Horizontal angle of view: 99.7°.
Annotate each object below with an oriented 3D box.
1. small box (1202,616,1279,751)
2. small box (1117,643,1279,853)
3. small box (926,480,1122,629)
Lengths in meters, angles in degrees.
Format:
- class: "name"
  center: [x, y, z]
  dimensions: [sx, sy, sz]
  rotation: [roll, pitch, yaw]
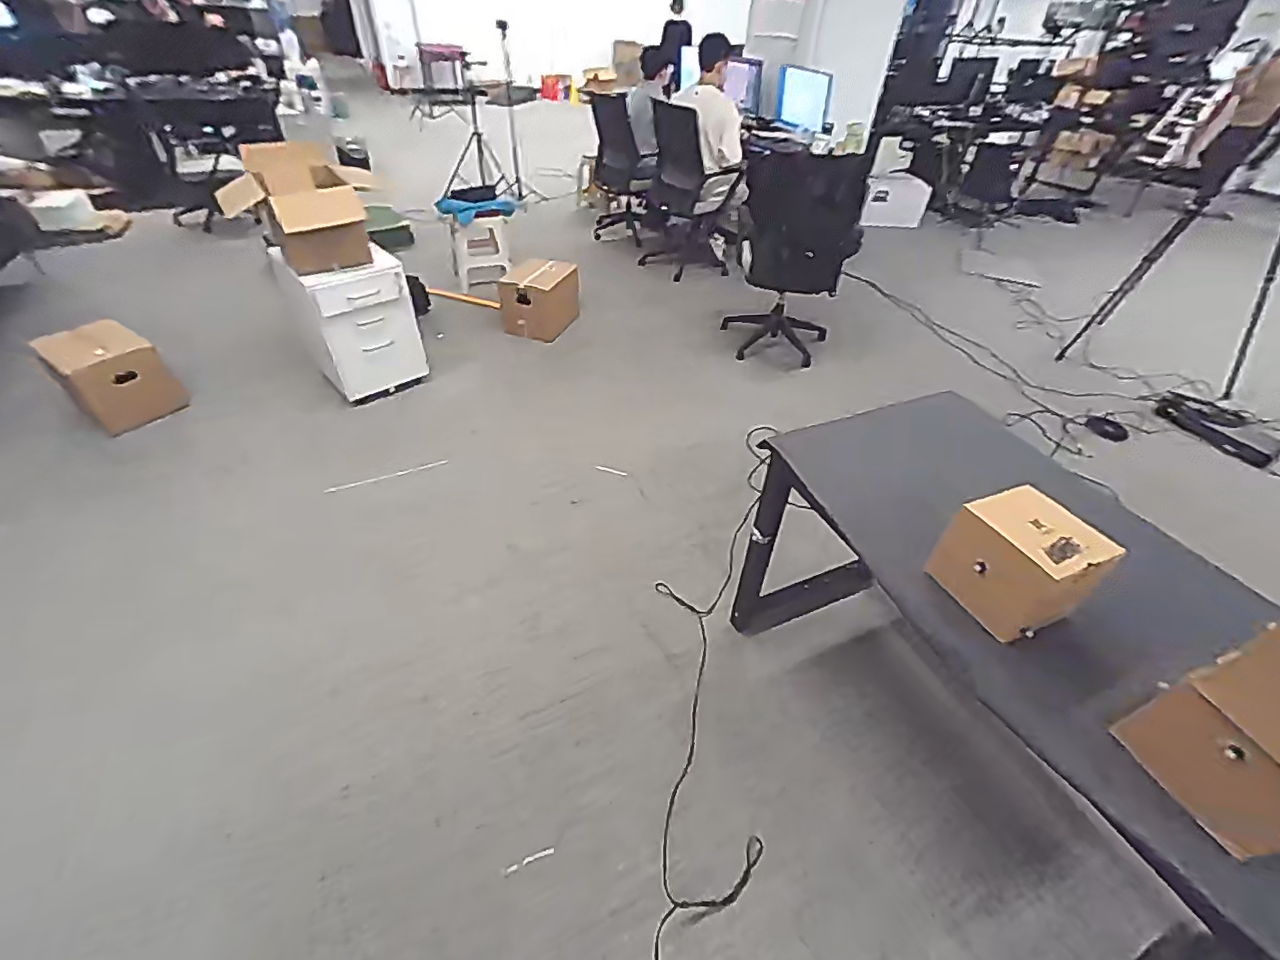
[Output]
- class: "small box"
  center: [0.787, 0.225, 0.575]
  dimensions: [0.168, 0.176, 0.179]
  rotation: [-10, 42, -15]
- class: "small box"
  center: [0.790, 0.336, 0.697]
  dimensions: [0.168, 0.176, 0.179]
  rotation: [-12, 45, -17]
- class: "small box"
  center: [0.636, 0.130, 0.919]
  dimensions: [0.168, 0.176, 0.179]
  rotation: [-13, 42, -20]
